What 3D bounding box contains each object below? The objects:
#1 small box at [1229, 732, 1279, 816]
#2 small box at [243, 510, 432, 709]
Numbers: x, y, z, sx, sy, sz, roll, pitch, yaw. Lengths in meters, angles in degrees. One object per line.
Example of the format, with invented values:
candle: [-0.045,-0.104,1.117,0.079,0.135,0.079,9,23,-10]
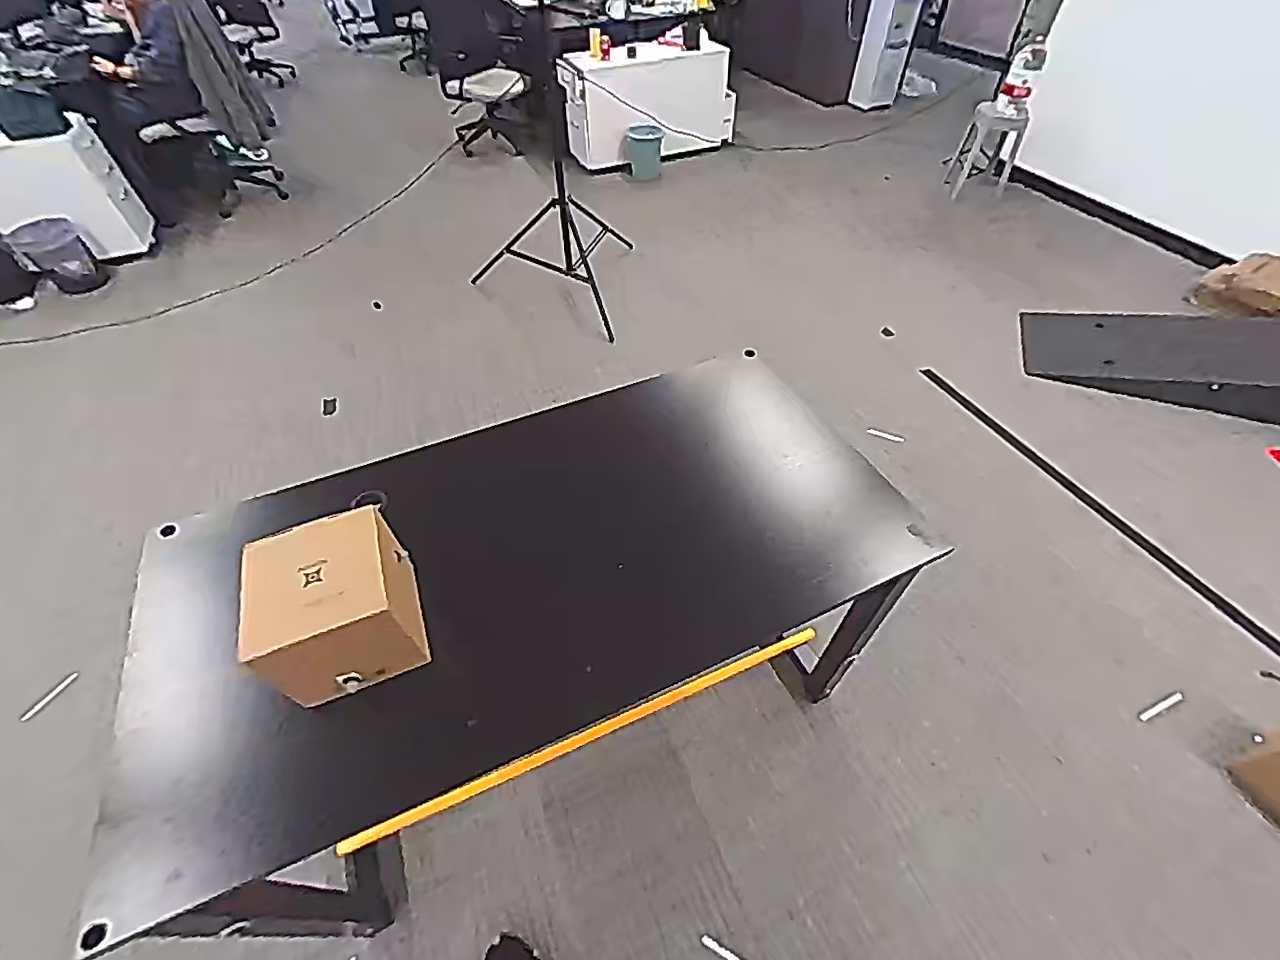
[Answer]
small box: [1.531,0.676,1.222,0.168,0.176,0.179,-21,52,-17]
small box: [-0.401,0.176,0.735,0.168,0.176,0.179,-20,53,-14]
